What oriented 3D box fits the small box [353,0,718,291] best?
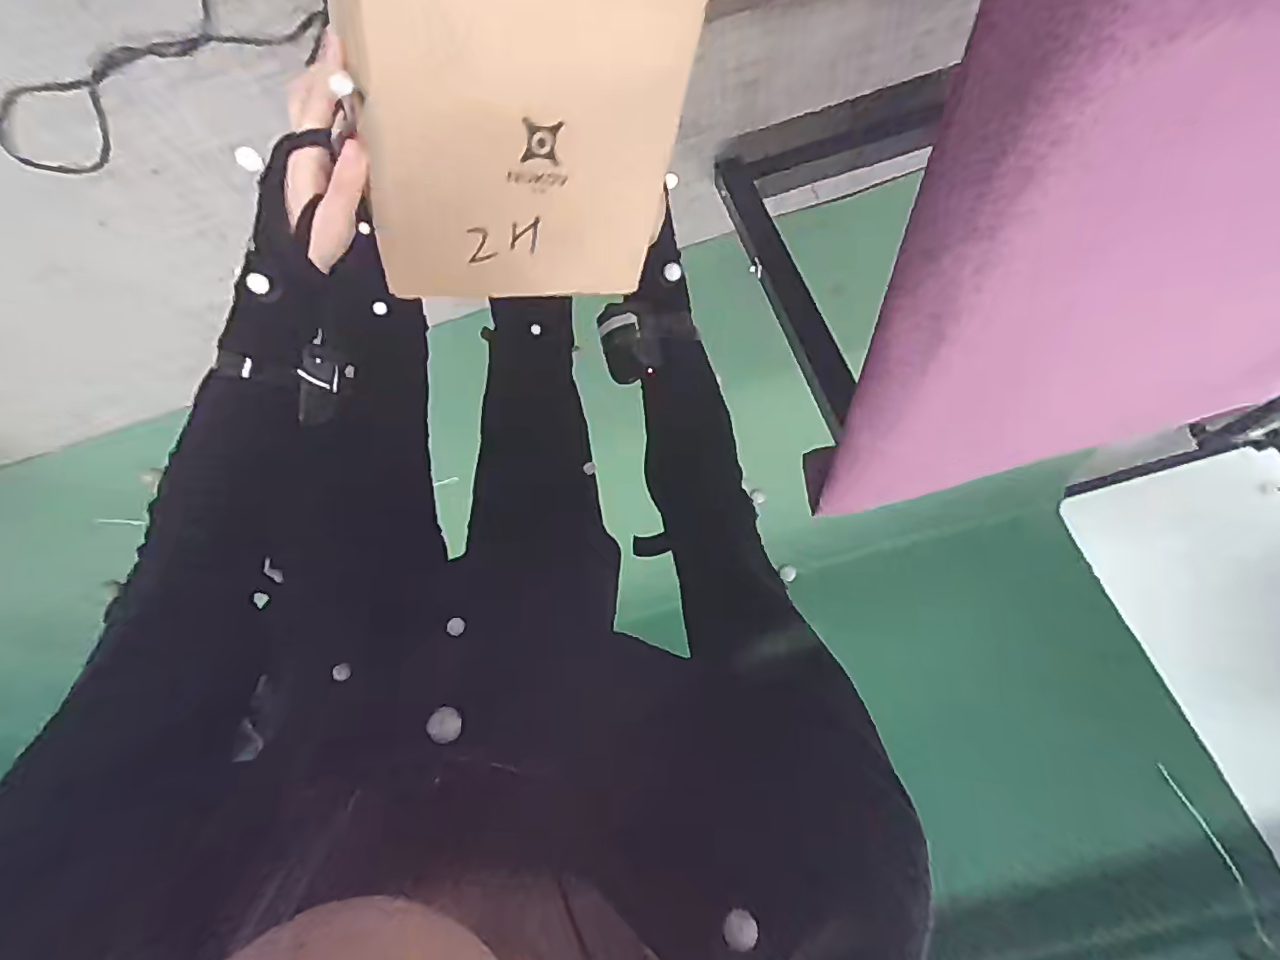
[{"bbox_3d":[-0.082,-0.244,0.345,0.168,0.176,0.179,-8,141,-26],"label":"small box"}]

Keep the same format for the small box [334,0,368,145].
[{"bbox_3d":[-0.144,-0.375,0.429,0.168,0.176,0.179,-8,141,-29],"label":"small box"}]
